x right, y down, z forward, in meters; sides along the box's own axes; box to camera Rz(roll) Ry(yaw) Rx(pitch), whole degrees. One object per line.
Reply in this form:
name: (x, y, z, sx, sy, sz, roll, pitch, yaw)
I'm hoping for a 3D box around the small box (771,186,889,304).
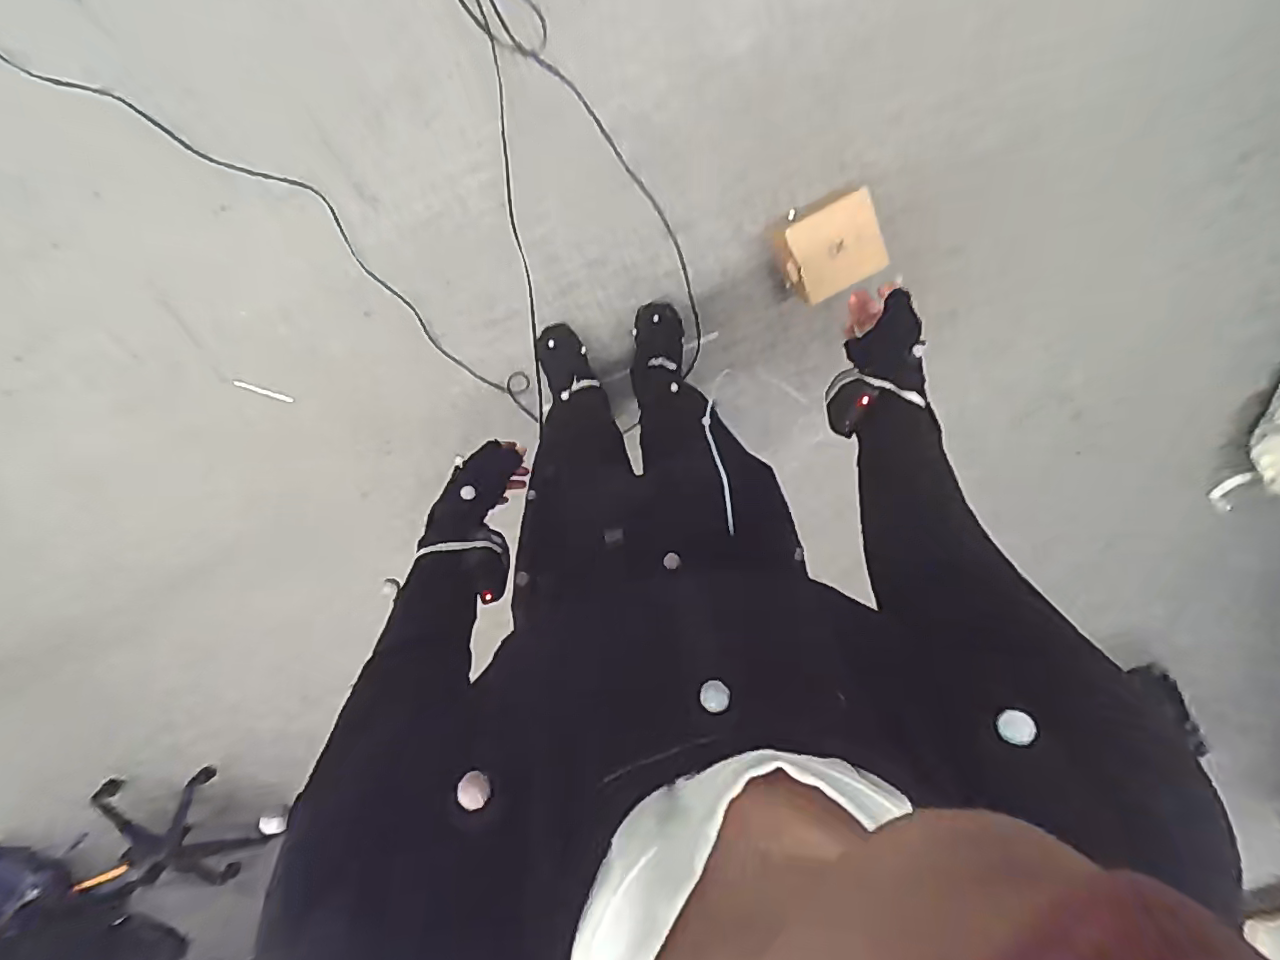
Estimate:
small box: (0.393, -0.500, 1.154, 0.179, 0.176, 0.168, -26, 115, 9)
